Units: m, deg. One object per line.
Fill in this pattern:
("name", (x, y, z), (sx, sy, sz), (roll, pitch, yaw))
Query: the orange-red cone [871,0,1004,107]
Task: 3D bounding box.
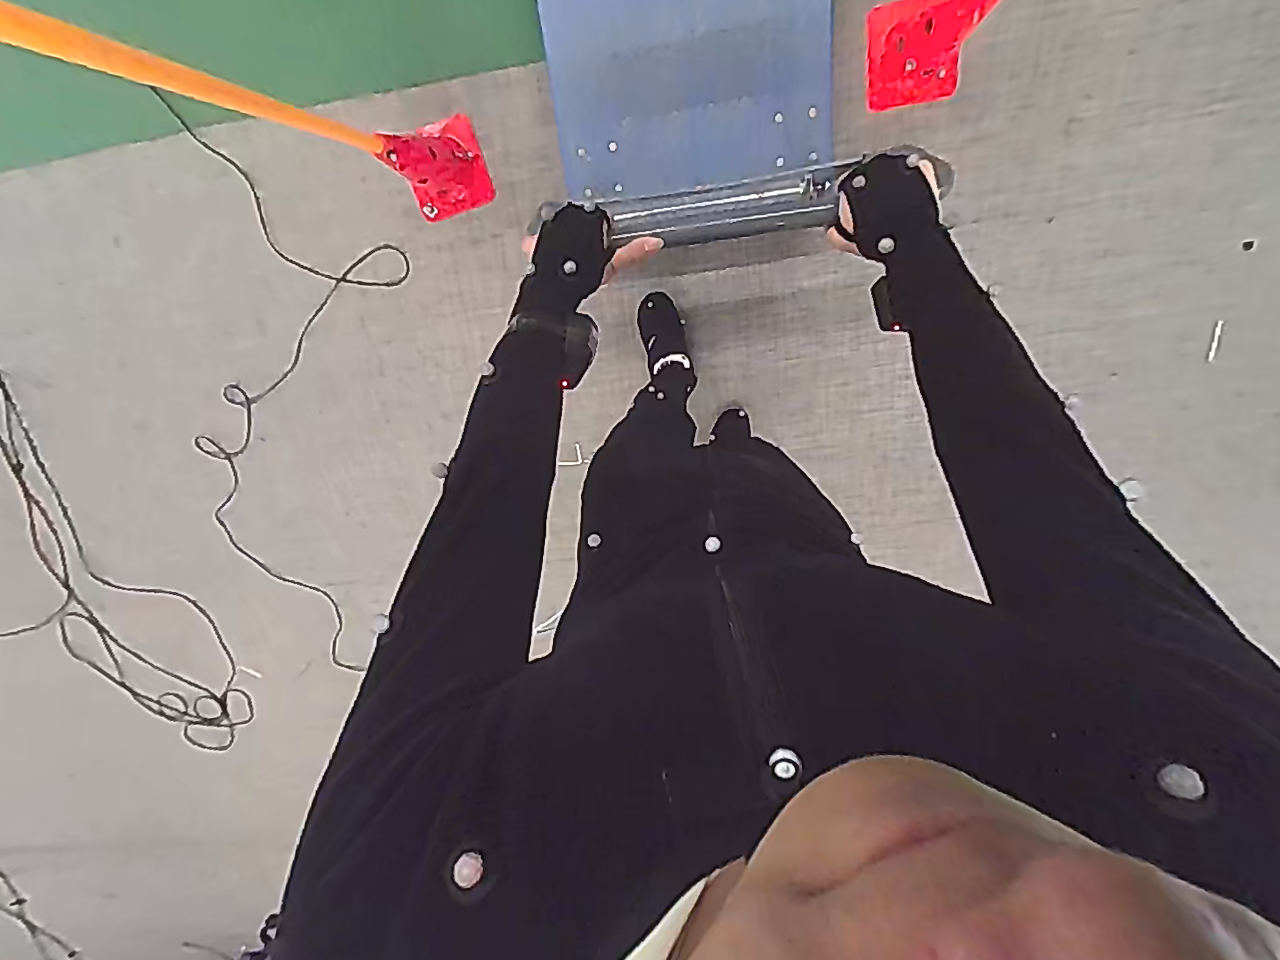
("orange-red cone", (0.604, -0.883, 1.032), (0.198, 0.360, 0.199), (-7, 111, 5))
